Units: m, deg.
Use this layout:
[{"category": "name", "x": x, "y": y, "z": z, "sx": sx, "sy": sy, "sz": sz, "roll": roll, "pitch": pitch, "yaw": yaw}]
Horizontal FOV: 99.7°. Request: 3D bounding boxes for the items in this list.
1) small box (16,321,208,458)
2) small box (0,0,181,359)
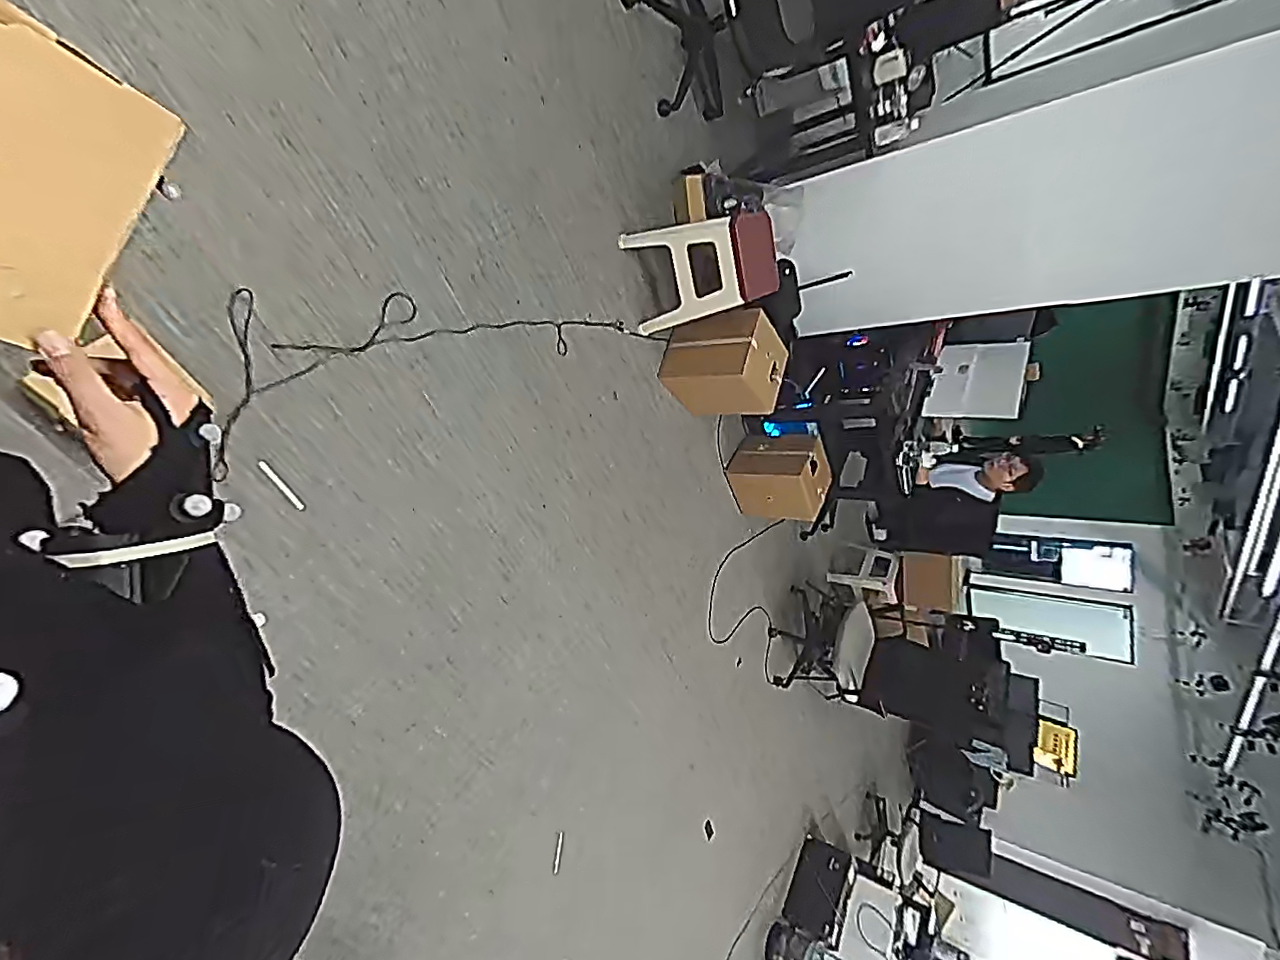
[{"category": "small box", "x": -0.925, "y": -0.156, "z": 0.948, "sx": 0.179, "sy": 0.176, "sz": 0.168, "roll": -53, "pitch": 130, "yaw": -34}, {"category": "small box", "x": -0.426, "y": -0.193, "z": 0.331, "sx": 0.168, "sy": 0.176, "sz": 0.179, "roll": 26, "pitch": 82, "yaw": -48}]
